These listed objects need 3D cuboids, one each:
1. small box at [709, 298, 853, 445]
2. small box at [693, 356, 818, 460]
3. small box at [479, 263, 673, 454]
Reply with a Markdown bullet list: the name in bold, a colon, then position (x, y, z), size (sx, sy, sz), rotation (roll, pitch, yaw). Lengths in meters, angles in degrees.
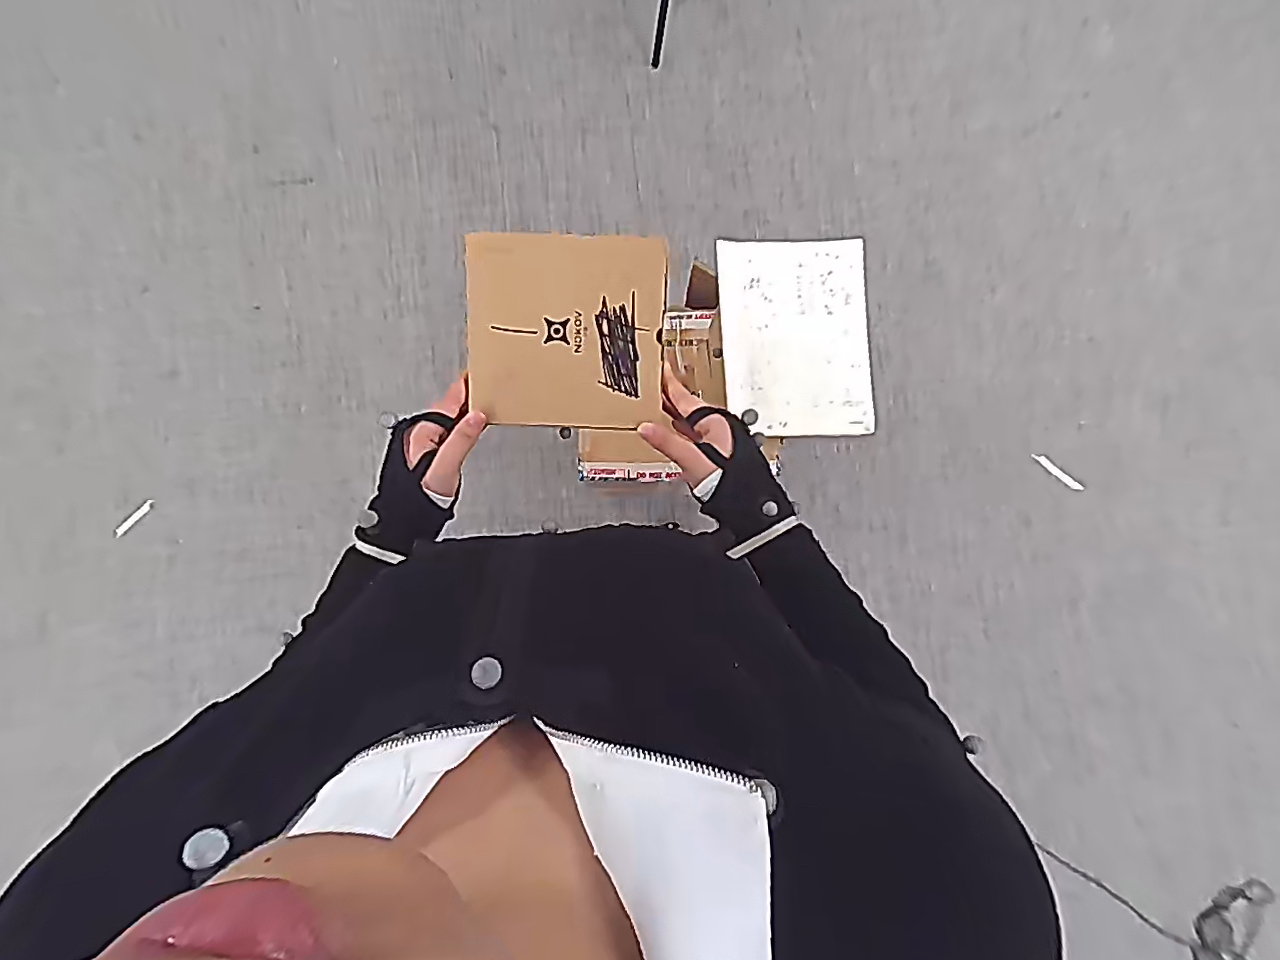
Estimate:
- **small box**: position (0.203, -0.157, 0.826), size (0.168, 0.176, 0.179), rotation (-4, 85, -2)
- **small box**: position (0.202, -0.134, 0.989), size (0.179, 0.176, 0.168), rotation (-7, 85, -2)
- **small box**: position (-0.062, -0.122, 0.575), size (0.179, 0.176, 0.168), rotation (2, 98, -1)
